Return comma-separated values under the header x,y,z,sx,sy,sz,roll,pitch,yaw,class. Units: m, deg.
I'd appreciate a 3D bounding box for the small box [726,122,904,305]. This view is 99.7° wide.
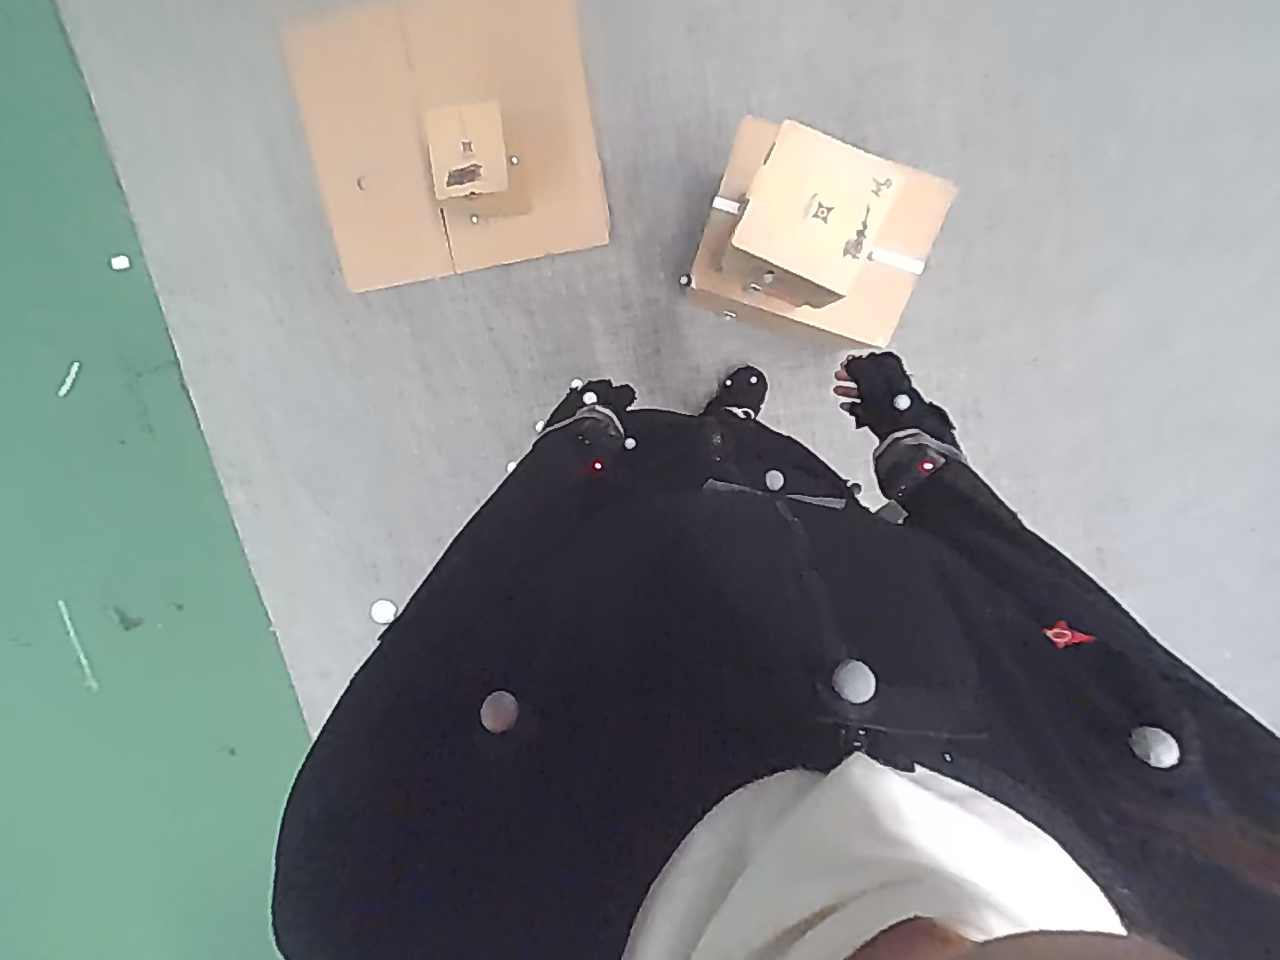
x,y,z,sx,sy,sz,roll,pitch,yaw,class
0.235,-0.368,0.784,0.179,0.176,0.168,22,101,1,small box

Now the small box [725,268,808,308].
x,y,z,sx,sy,sz,roll,pitch,yaw,class
0.253,-0.416,0.938,0.168,0.176,0.179,21,104,2,small box

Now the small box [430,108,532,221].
x,y,z,sx,sy,sz,roll,pitch,yaw,class
-0.351,-0.703,1.230,0.168,0.176,0.179,-3,100,6,small box
